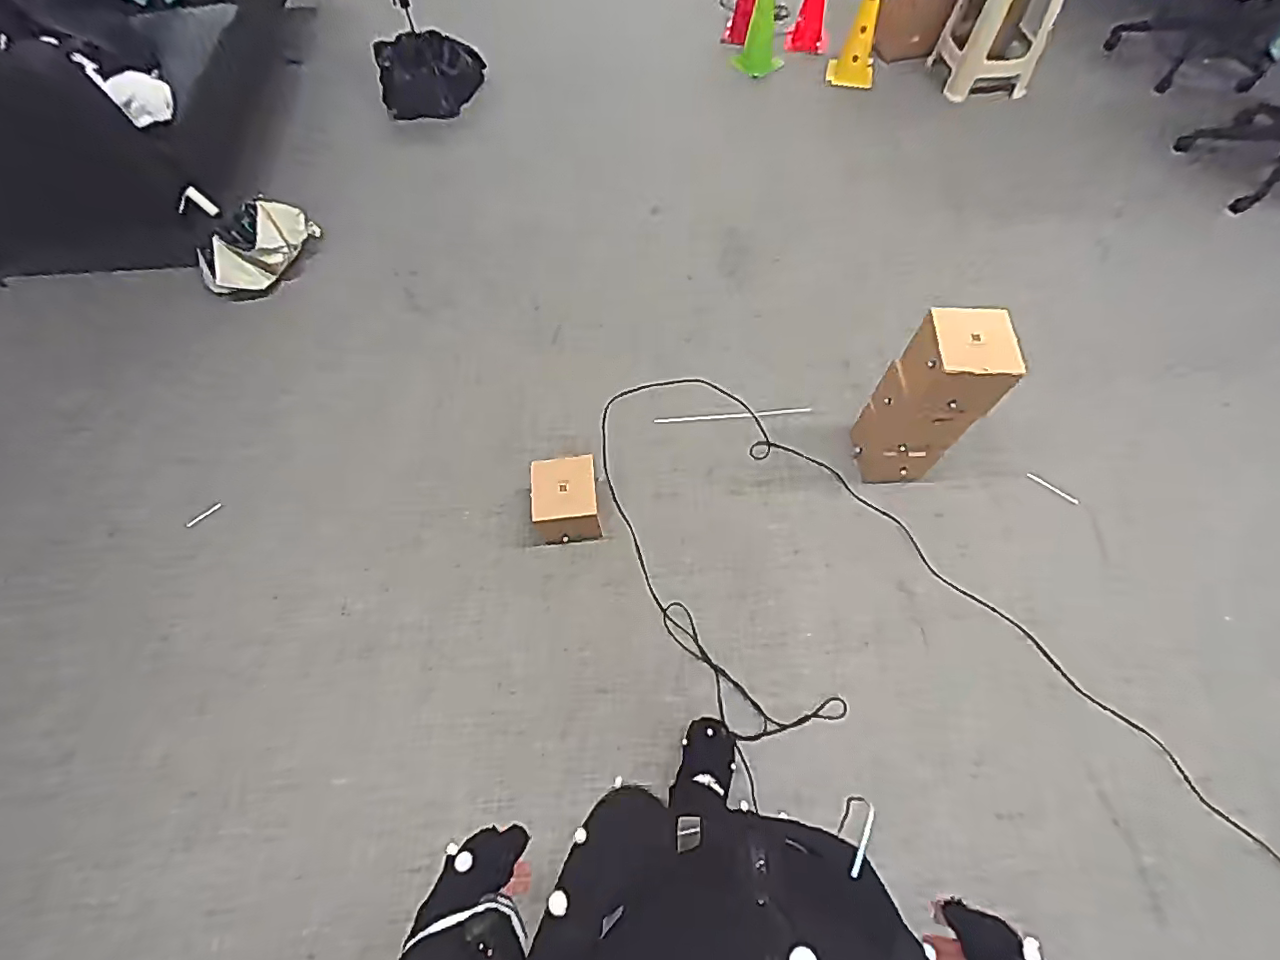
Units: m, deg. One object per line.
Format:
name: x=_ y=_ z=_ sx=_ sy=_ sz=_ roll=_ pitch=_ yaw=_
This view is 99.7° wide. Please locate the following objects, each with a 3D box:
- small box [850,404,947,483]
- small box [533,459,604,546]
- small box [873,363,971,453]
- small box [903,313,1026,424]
small box: x=0.709 y=-0.098 z=1.504 sx=0.168 sy=0.176 sz=0.179 roll=-4 pitch=65 yaw=-3
small box: x=-0.191 y=0.063 z=1.456 sx=0.168 sy=0.176 sz=0.179 roll=-6 pitch=64 yaw=0
small box: x=0.708 y=-0.176 z=1.356 sx=0.168 sy=0.176 sz=0.179 roll=-2 pitch=63 yaw=1
small box: x=0.712 y=-0.247 z=1.210 sx=0.168 sy=0.176 sz=0.179 roll=3 pitch=65 yaw=3
